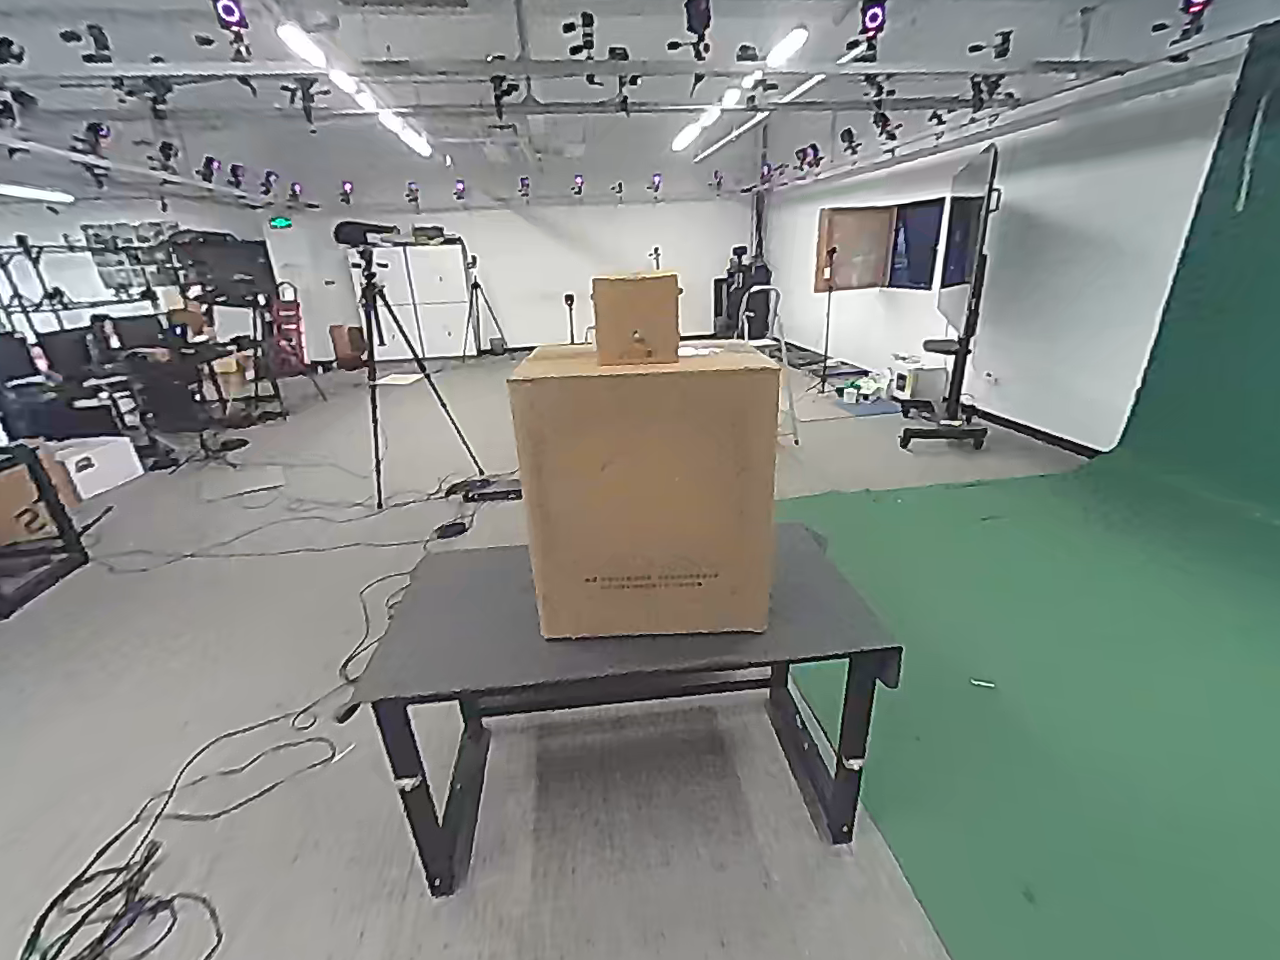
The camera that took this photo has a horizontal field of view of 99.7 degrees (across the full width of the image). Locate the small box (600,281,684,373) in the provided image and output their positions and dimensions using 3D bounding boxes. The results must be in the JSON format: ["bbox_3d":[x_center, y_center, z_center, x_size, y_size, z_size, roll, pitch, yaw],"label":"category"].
[{"bbox_3d":[0.006,-0.327,1.146,0.168,0.176,0.179,-2,24,1],"label":"small box"}]
